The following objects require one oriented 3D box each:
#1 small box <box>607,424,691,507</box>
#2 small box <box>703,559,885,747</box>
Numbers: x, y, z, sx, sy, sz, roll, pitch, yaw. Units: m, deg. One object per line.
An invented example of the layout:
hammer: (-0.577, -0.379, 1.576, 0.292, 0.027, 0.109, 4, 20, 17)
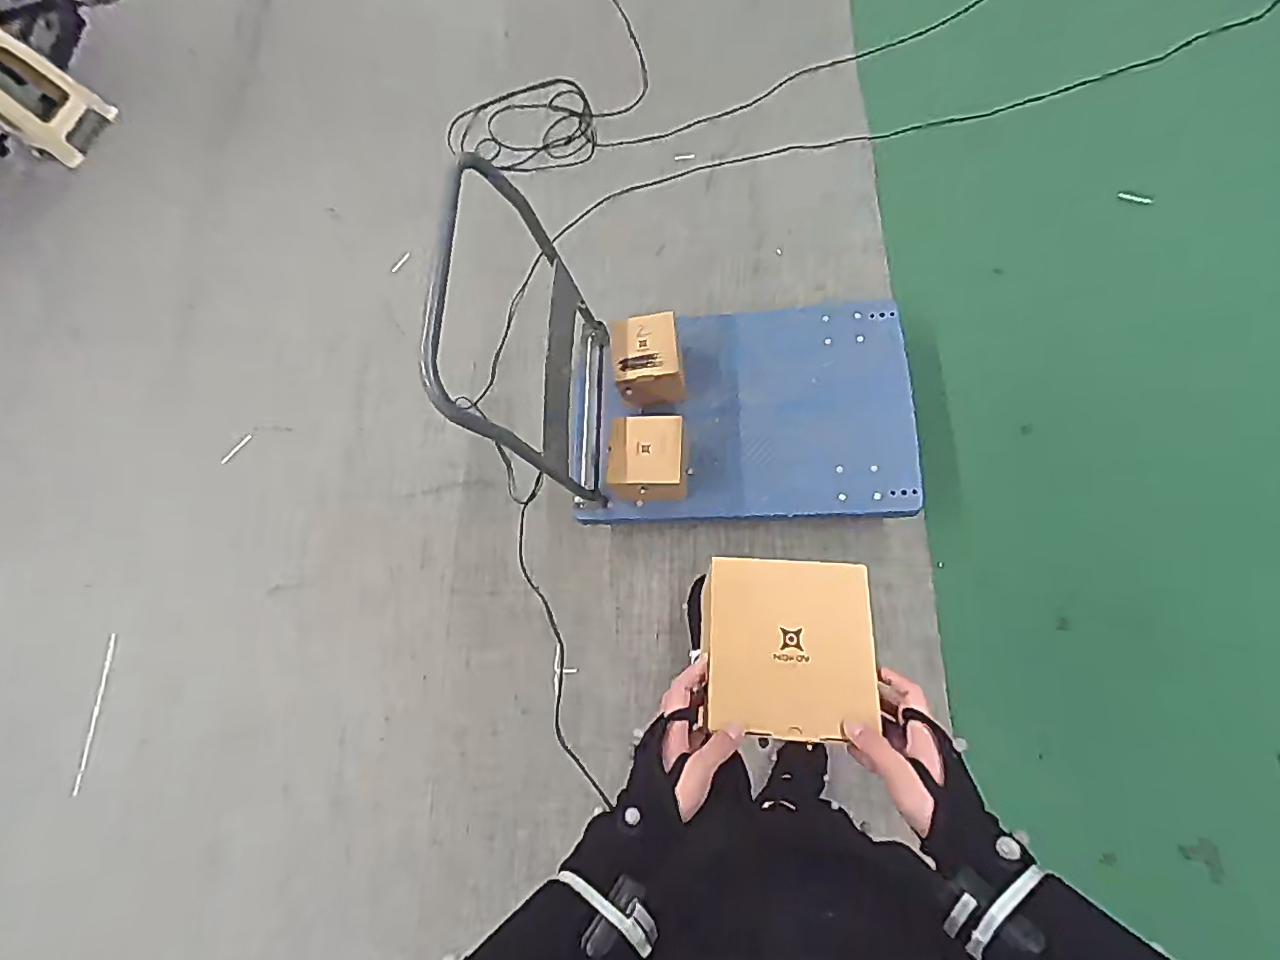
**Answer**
small box: (0.027, -0.031, 1.335, 0.179, 0.176, 0.168, 0, 74, 11)
small box: (0.161, 0.201, 0.623, 0.168, 0.176, 0.179, 3, 67, 4)
